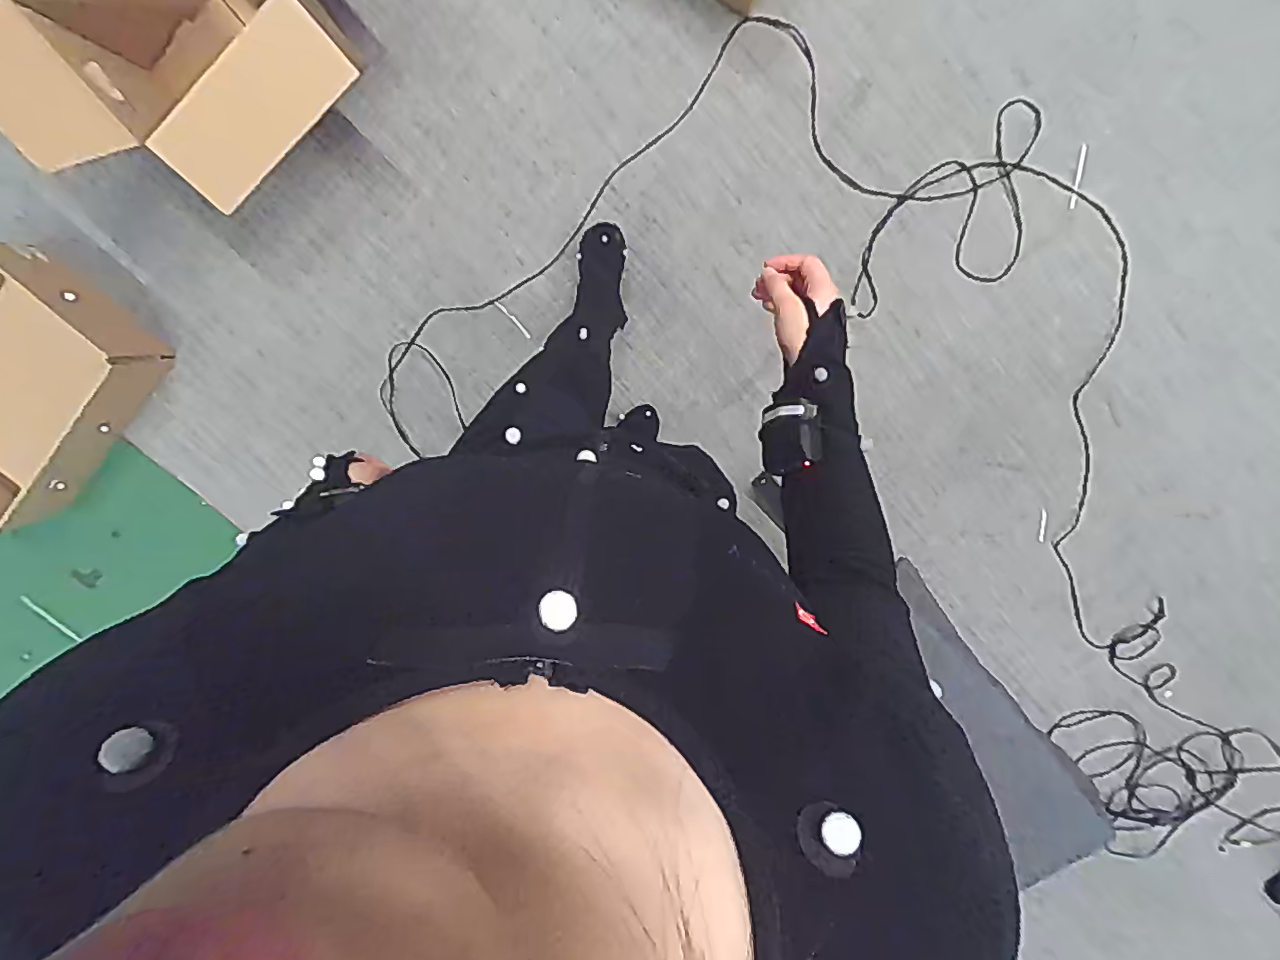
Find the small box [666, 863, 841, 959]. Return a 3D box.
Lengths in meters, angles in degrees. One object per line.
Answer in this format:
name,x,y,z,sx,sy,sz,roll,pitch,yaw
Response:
small box,0.139,0.619,0.654,0.168,0.176,0.179,31,103,-7

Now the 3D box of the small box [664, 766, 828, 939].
small box,0.143,0.578,0.814,0.168,0.176,0.179,29,104,-6
